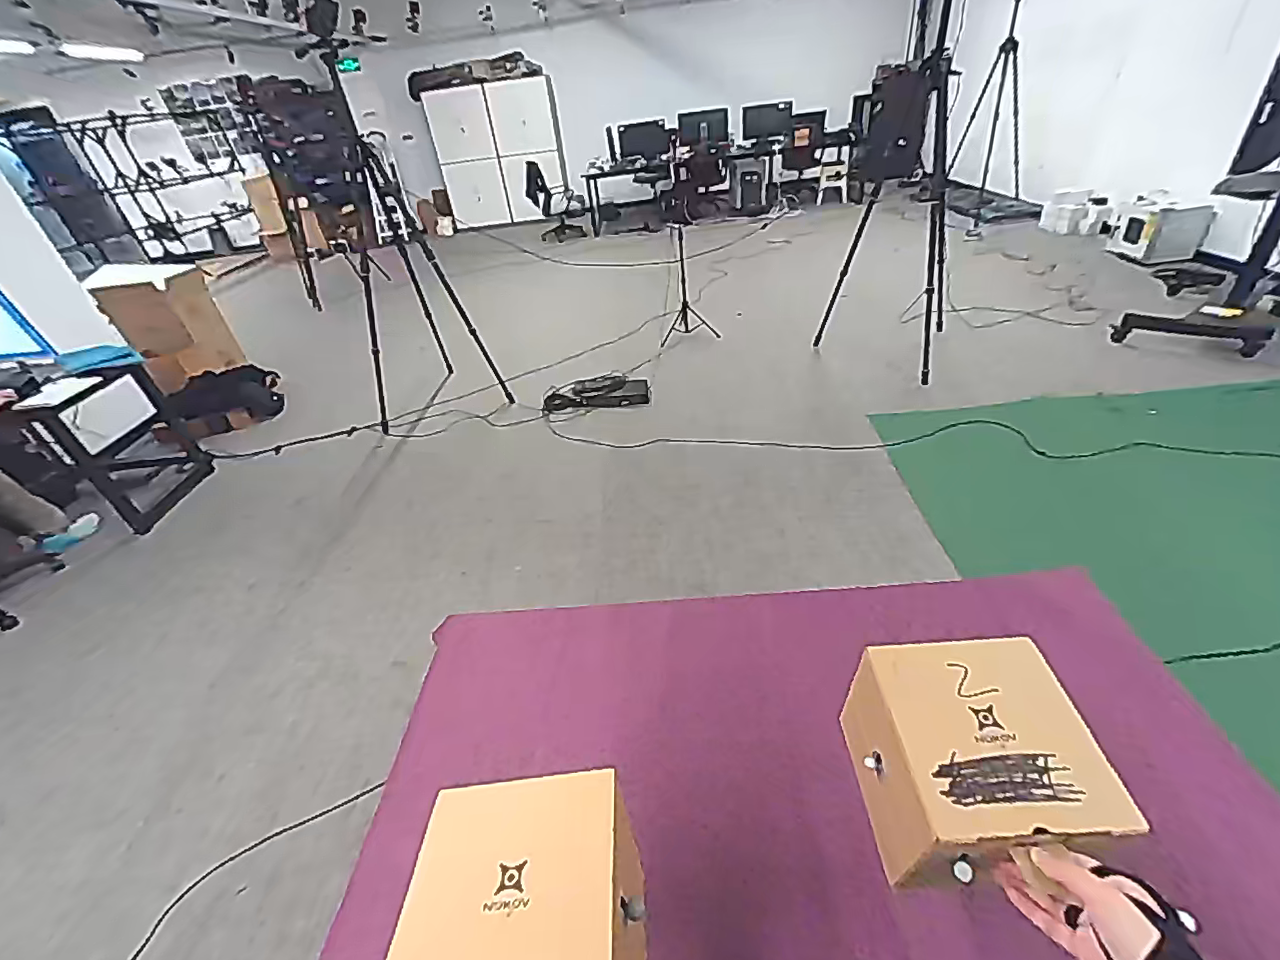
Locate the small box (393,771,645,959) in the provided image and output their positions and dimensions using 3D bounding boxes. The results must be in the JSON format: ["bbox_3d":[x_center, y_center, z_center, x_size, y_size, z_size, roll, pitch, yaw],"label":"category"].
[{"bbox_3d":[-0.089,0.391,0.467,0.168,0.176,0.179,-9,27,2],"label":"small box"}]
